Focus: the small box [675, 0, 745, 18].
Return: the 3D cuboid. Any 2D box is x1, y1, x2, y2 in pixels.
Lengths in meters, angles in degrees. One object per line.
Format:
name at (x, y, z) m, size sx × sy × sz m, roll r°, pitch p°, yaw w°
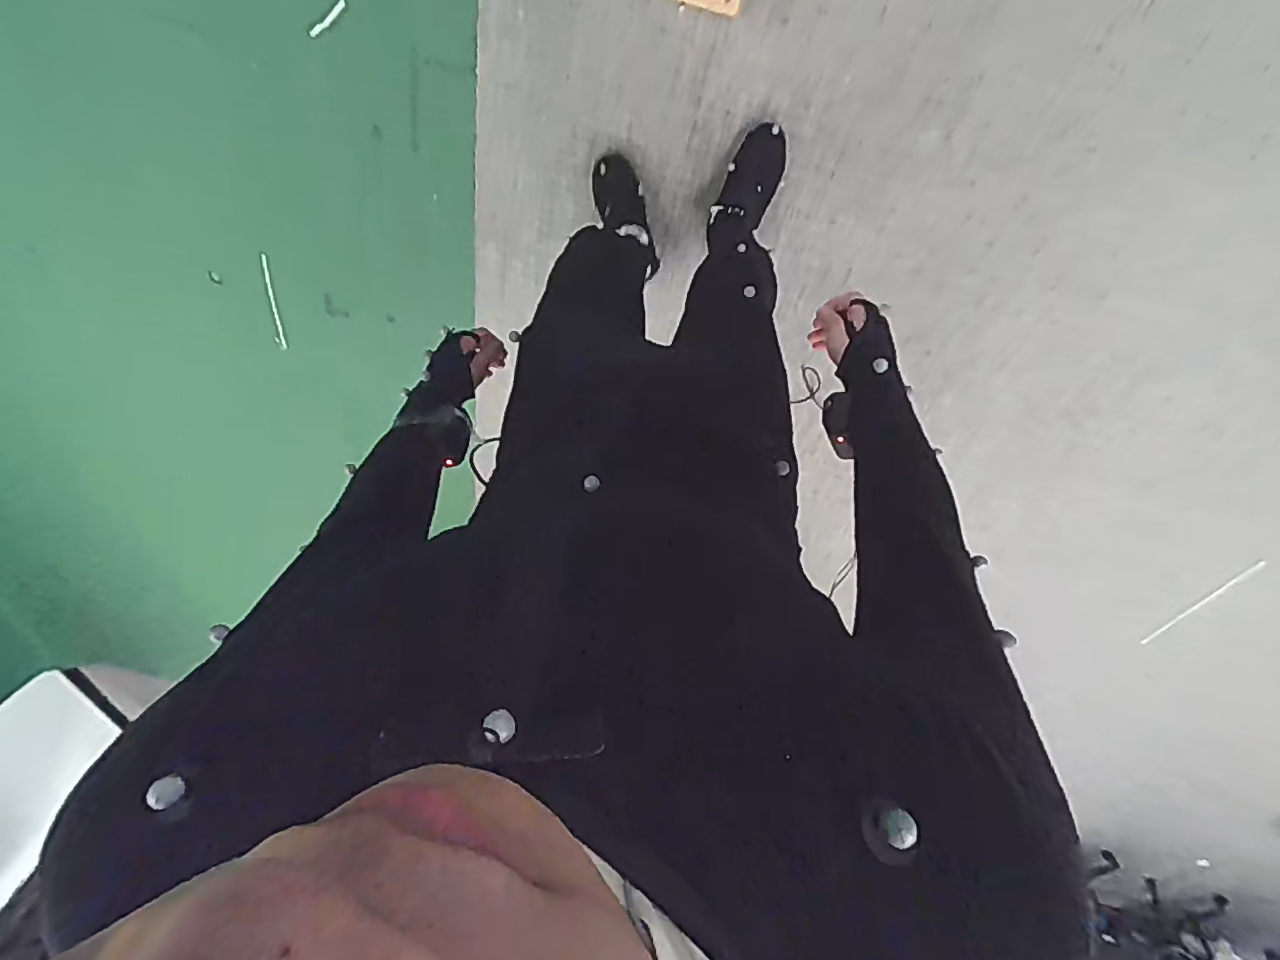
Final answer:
small box at (0.125, -0.949, 0.951) m, size 0.168 × 0.176 × 0.179 m, roll 16°, pitch 130°, yaw 0°
